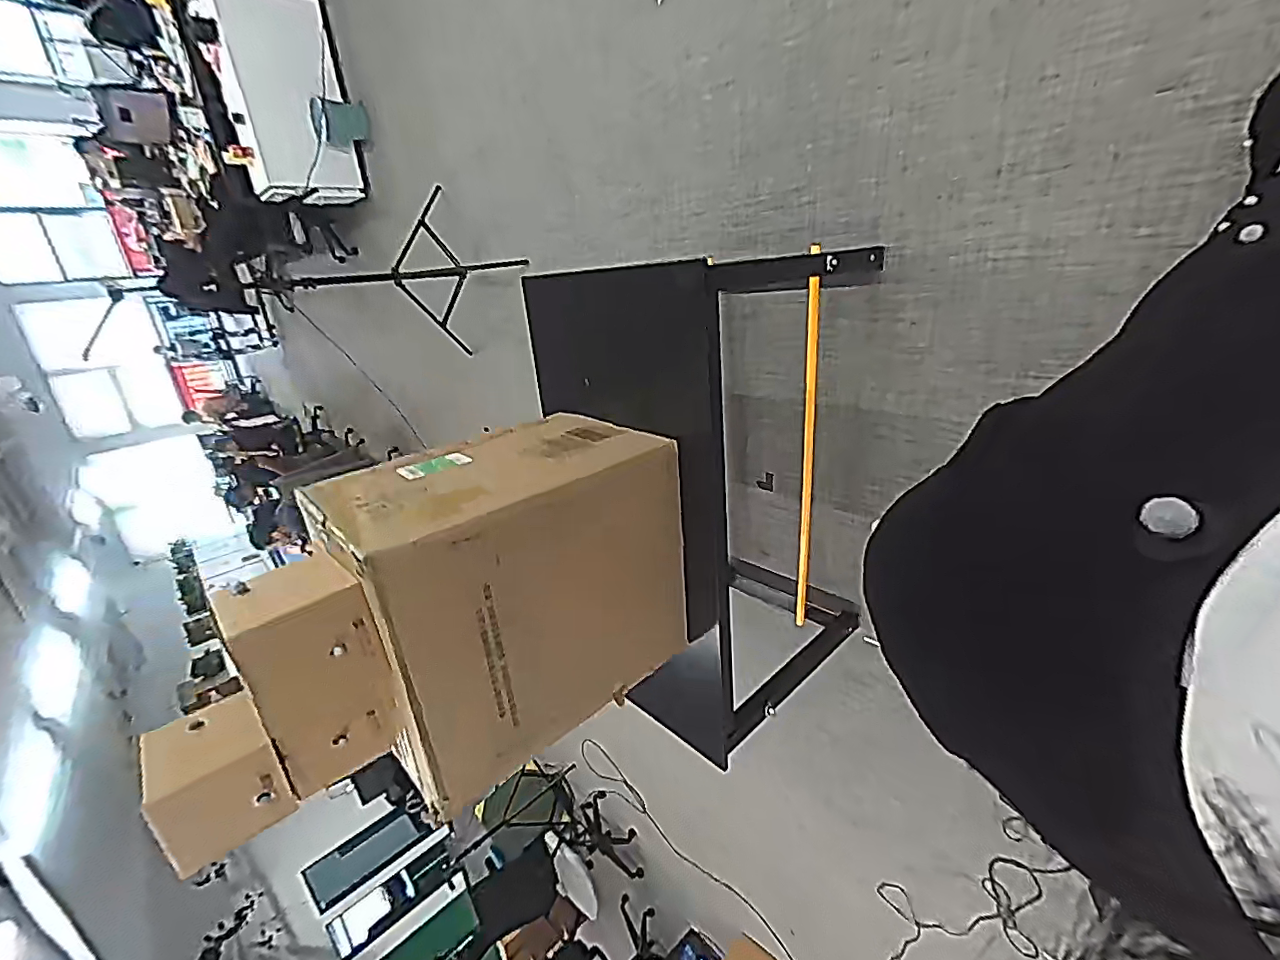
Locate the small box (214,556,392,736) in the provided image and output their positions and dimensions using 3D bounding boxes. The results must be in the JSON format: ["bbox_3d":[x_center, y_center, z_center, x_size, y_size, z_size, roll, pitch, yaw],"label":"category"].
[{"bbox_3d":[-0.501,0.233,0.813,0.179,0.176,0.168,14,121,45],"label":"small box"}]

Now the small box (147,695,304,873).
[{"bbox_3d":[-0.701,0.500,0.925,0.179,0.176,0.168,20,123,44],"label":"small box"}]

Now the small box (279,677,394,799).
[{"bbox_3d":[-0.591,0.450,1.036,0.179,0.176,0.168,18,120,45],"label":"small box"}]
